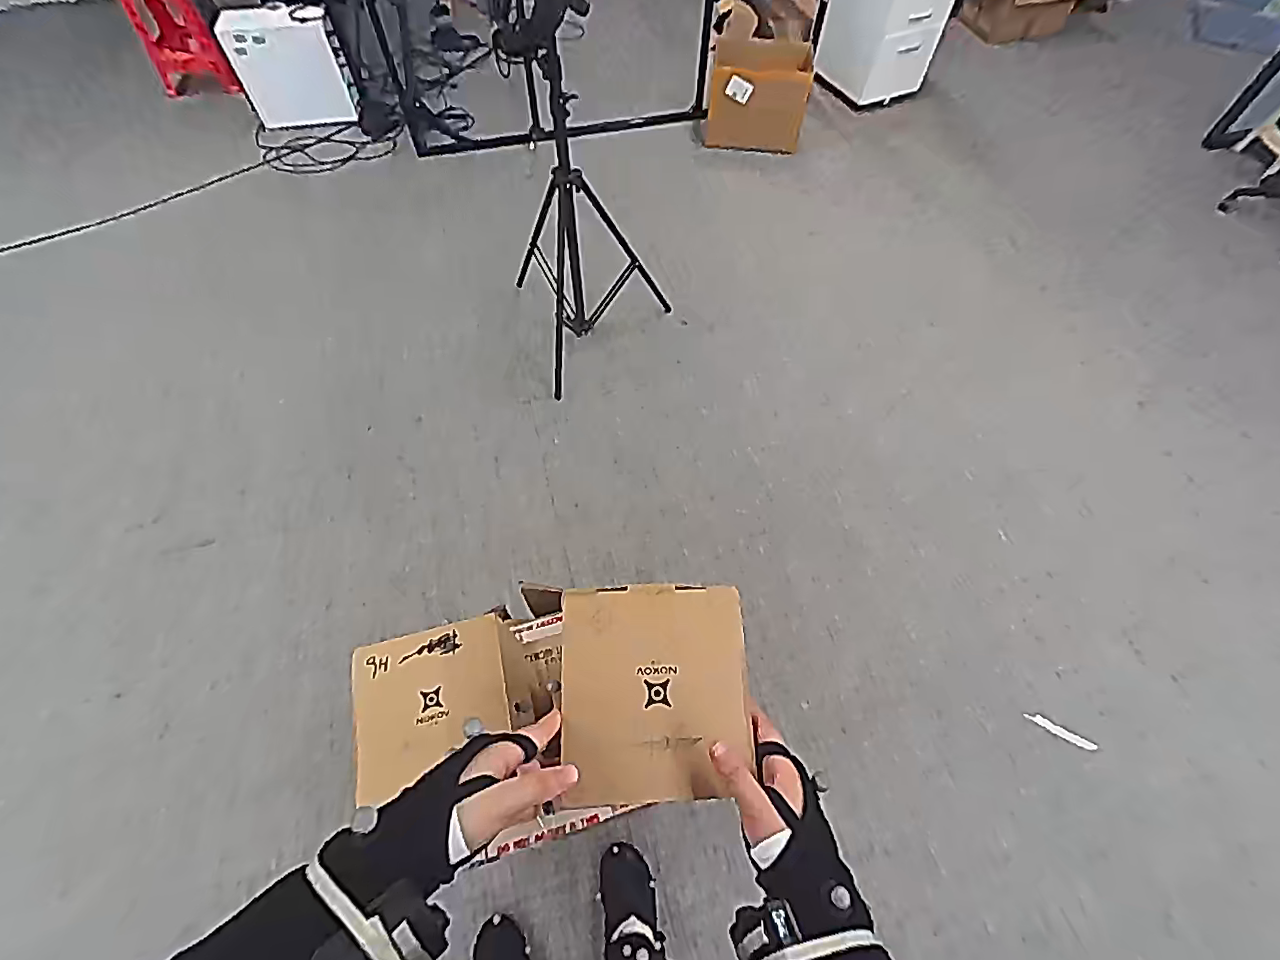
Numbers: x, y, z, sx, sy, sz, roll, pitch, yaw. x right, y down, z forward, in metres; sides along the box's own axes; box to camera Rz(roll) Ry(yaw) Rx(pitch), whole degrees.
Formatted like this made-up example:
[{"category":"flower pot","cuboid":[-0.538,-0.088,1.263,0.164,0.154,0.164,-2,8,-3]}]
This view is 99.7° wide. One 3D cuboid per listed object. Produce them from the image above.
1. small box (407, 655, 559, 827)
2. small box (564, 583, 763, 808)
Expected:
[{"category":"small box","cuboid":[-0.225,0.383,0.798,0.168,0.176,0.179,-16,64,-9]},{"category":"small box","cuboid":[0.008,0.204,0.538,0.168,0.176,0.179,-1,72,-7]}]
